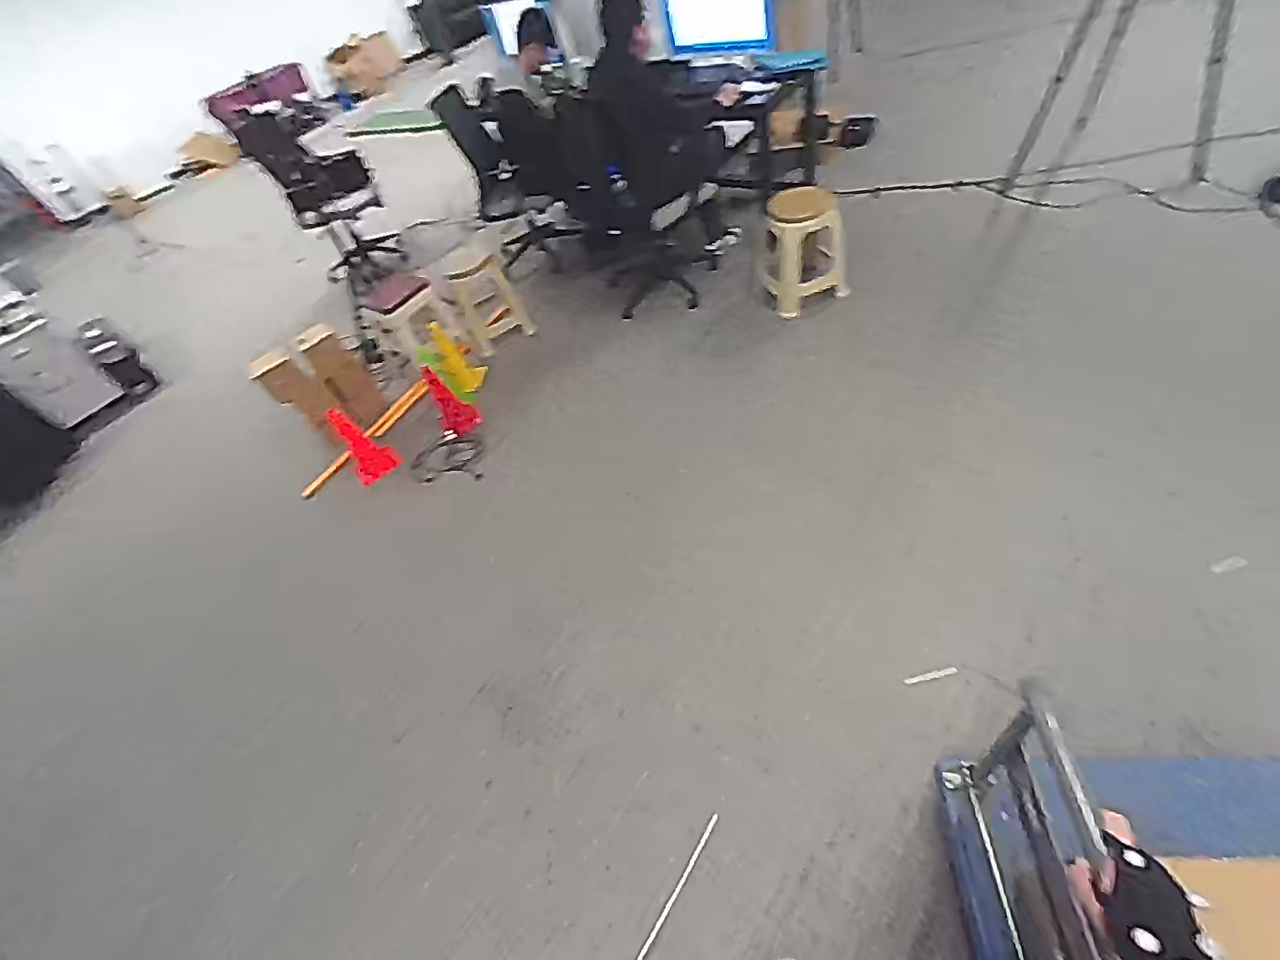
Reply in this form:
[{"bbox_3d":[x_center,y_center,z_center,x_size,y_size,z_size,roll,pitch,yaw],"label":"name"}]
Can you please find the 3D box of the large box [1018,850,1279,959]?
[{"bbox_3d":[0.901,0.775,0.827,0.408,0.320,0.320,-7,50,10],"label":"large box"}]
